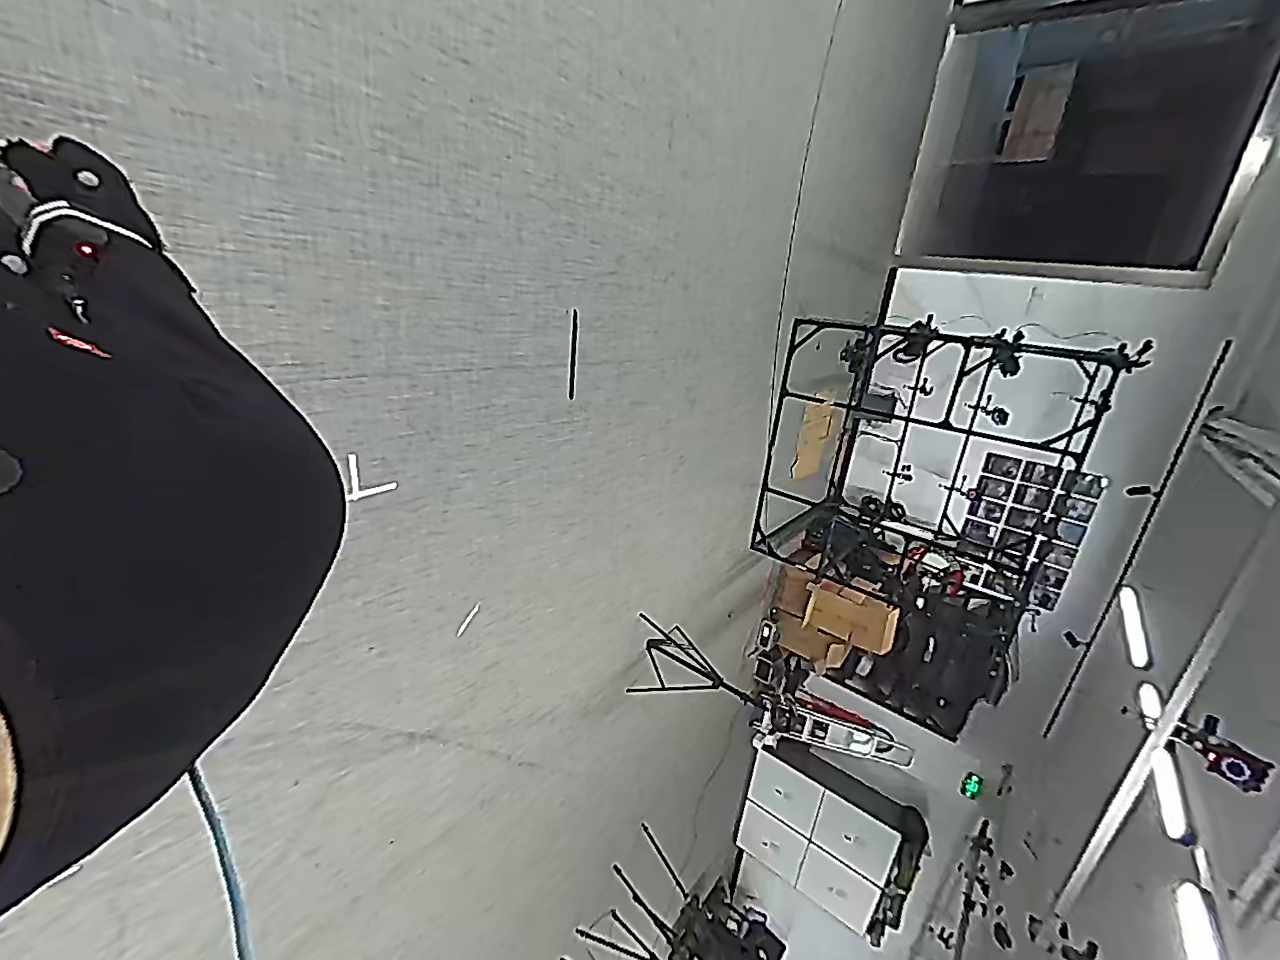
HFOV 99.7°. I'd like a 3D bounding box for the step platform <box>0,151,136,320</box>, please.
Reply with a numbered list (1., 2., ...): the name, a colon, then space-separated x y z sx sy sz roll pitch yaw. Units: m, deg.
1. step platform: -1.277 -0.411 0.865 0.684 0.204 0.286 -22 124 -51
